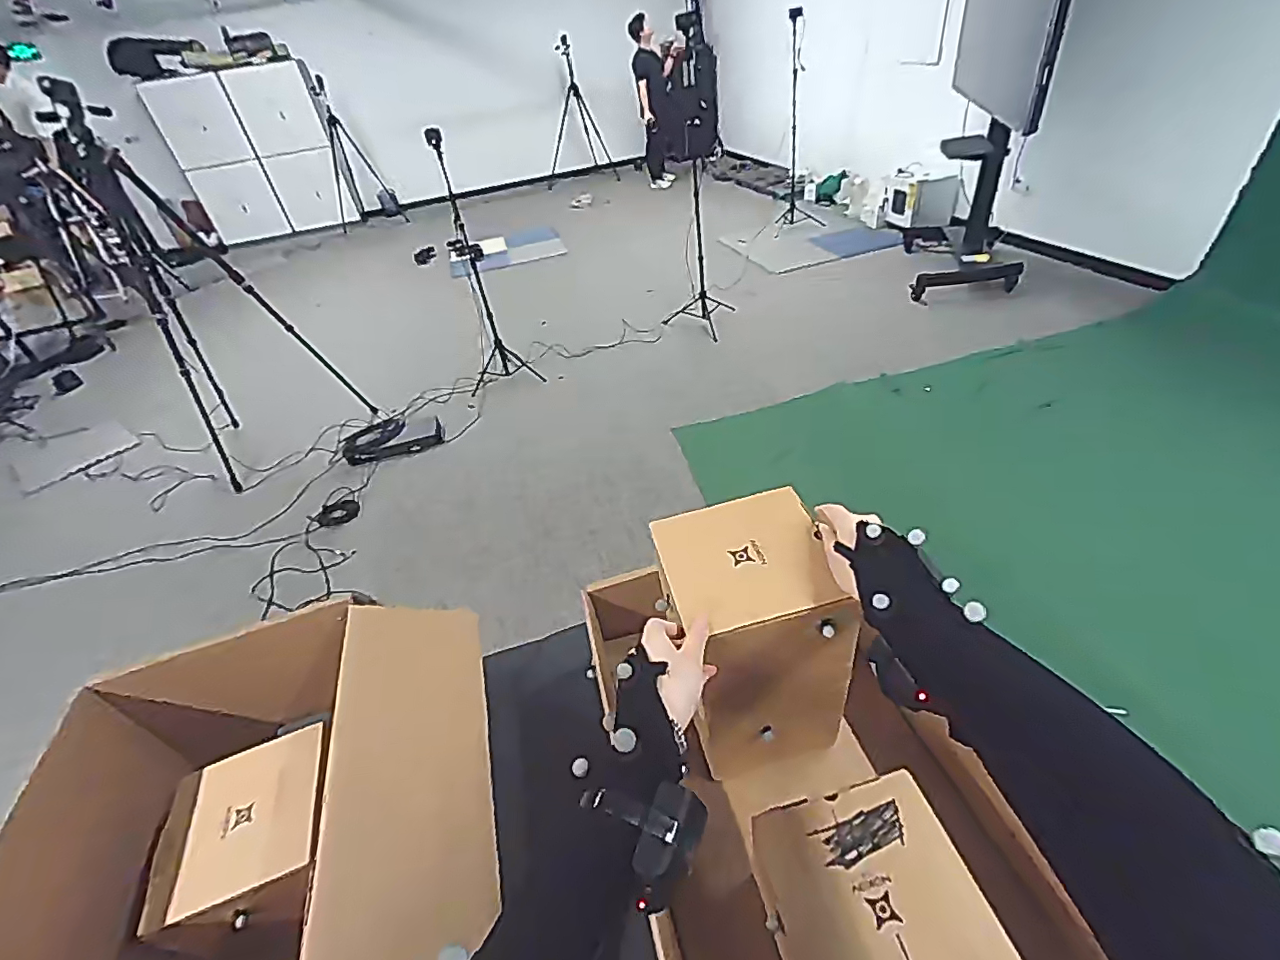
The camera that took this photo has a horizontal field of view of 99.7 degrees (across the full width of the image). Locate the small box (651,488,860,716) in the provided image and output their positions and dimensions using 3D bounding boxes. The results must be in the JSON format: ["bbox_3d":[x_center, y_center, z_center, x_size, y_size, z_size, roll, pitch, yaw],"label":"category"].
[{"bbox_3d":[0.124,0.140,0.616,0.179,0.176,0.168,-14,41,-4],"label":"small box"}]

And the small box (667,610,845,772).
[{"bbox_3d":[0.150,0.260,0.724,0.179,0.176,0.168,-16,42,-5],"label":"small box"}]
